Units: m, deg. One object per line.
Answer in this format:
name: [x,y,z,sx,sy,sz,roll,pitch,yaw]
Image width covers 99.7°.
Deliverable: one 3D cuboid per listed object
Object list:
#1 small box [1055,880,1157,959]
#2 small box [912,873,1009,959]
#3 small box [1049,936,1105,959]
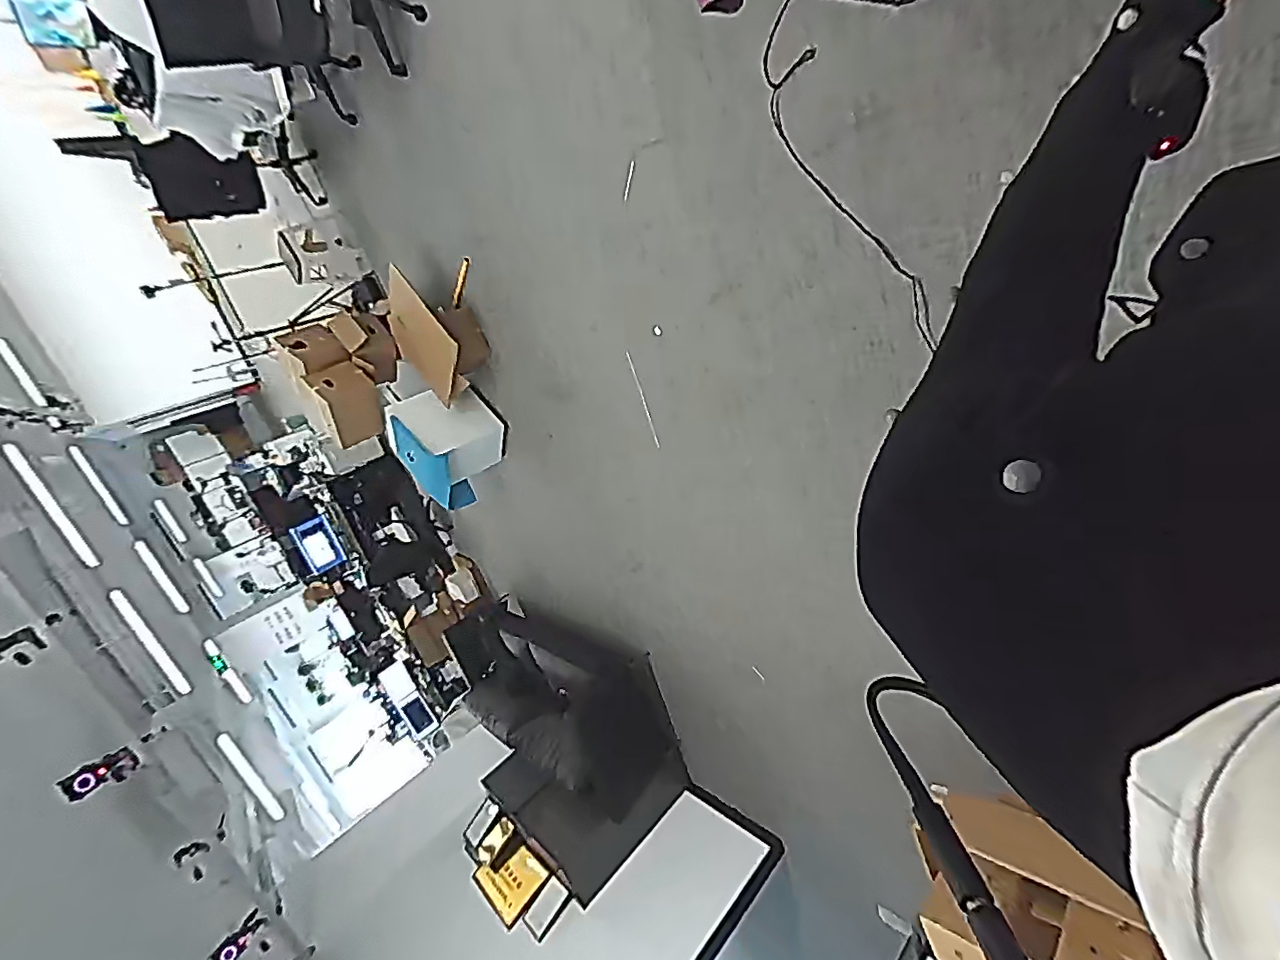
small box: [1.192,1.185,1.381,0.168,0.176,0.179,-5,112,51]
small box: [0.896,1.257,1.505,0.168,0.176,0.179,-8,109,53]
small box: [1.078,1.256,1.288,0.168,0.176,0.179,1,117,50]
